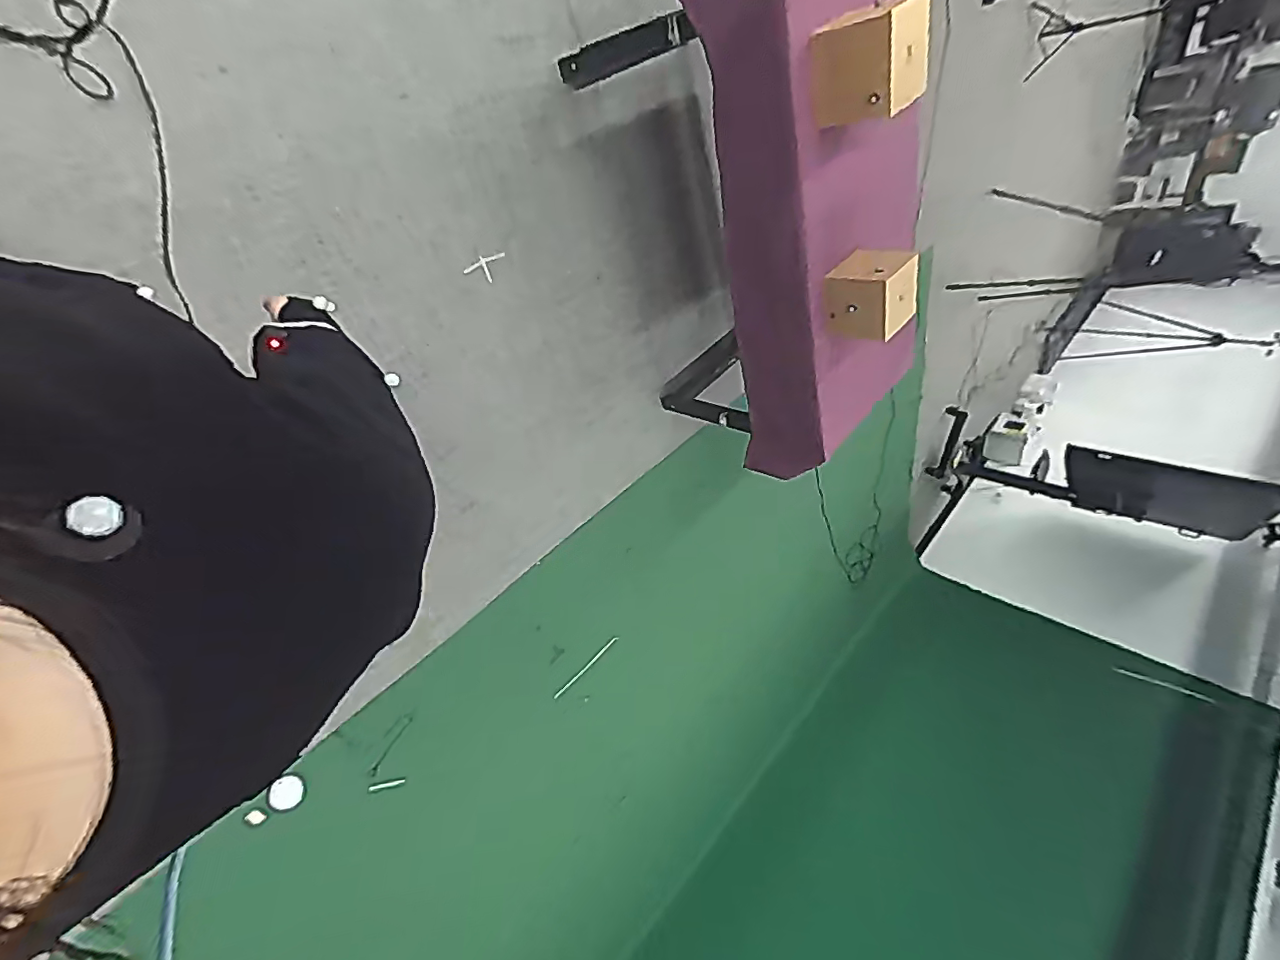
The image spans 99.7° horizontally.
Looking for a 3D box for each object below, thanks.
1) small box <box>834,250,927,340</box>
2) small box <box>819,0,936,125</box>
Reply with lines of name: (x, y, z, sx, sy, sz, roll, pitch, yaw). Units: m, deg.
small box: (0.623, -0.485, 1.412, 0.179, 0.176, 0.168, -41, 132, -26)
small box: (0.485, -0.864, 1.111, 0.168, 0.176, 0.179, -44, 134, -24)
